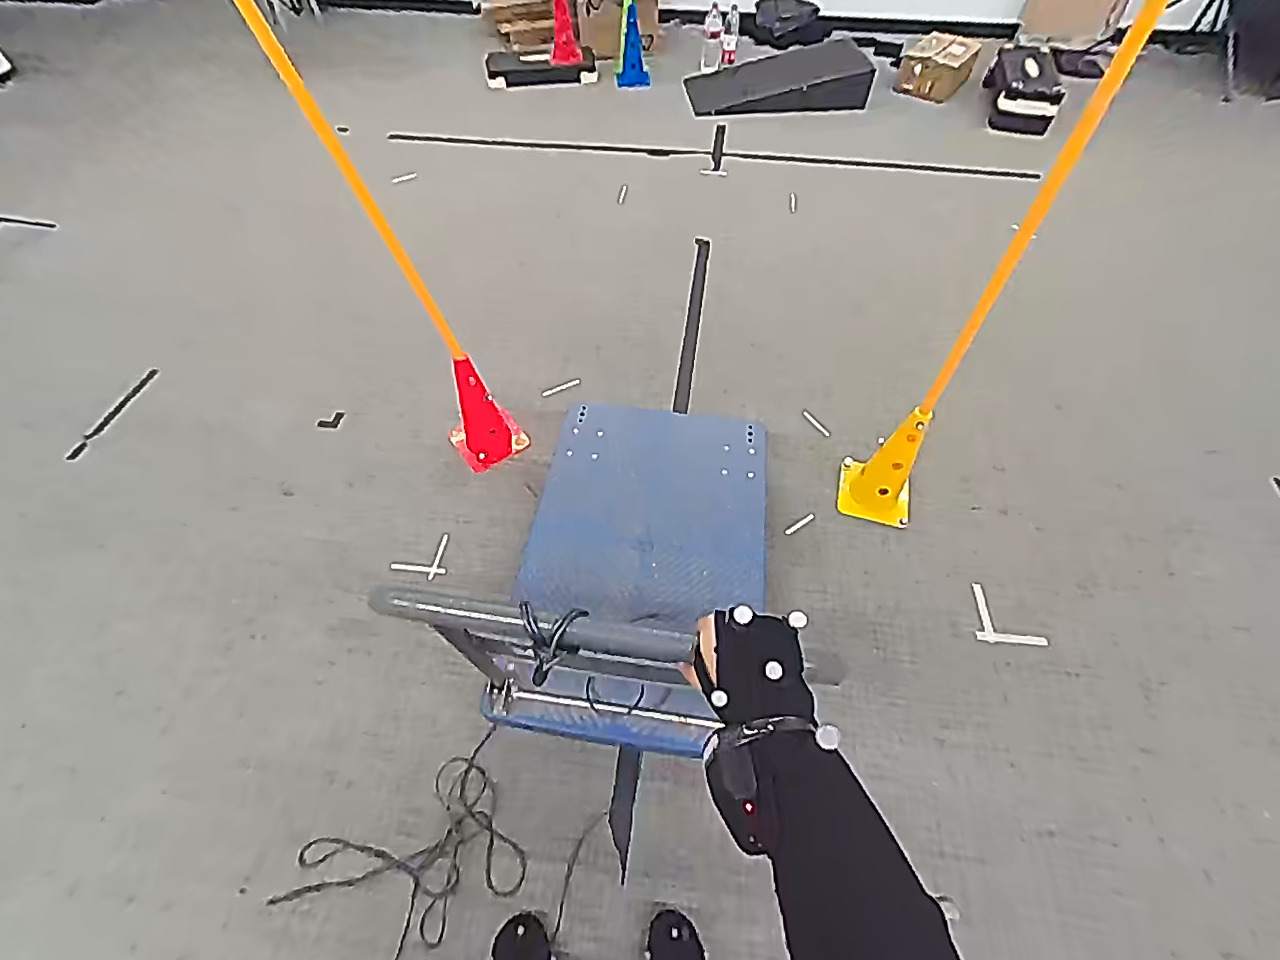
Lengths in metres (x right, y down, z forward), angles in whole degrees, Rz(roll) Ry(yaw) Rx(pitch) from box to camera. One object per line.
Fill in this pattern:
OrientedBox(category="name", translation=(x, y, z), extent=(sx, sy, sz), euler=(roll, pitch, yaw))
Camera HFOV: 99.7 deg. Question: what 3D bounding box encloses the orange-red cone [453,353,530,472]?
OrientedBox(category="orange-red cone", translation=(-0.468, -0.224, 1.574), extent=(0.199, 0.360, 0.198), euler=(-31, 62, -21))
